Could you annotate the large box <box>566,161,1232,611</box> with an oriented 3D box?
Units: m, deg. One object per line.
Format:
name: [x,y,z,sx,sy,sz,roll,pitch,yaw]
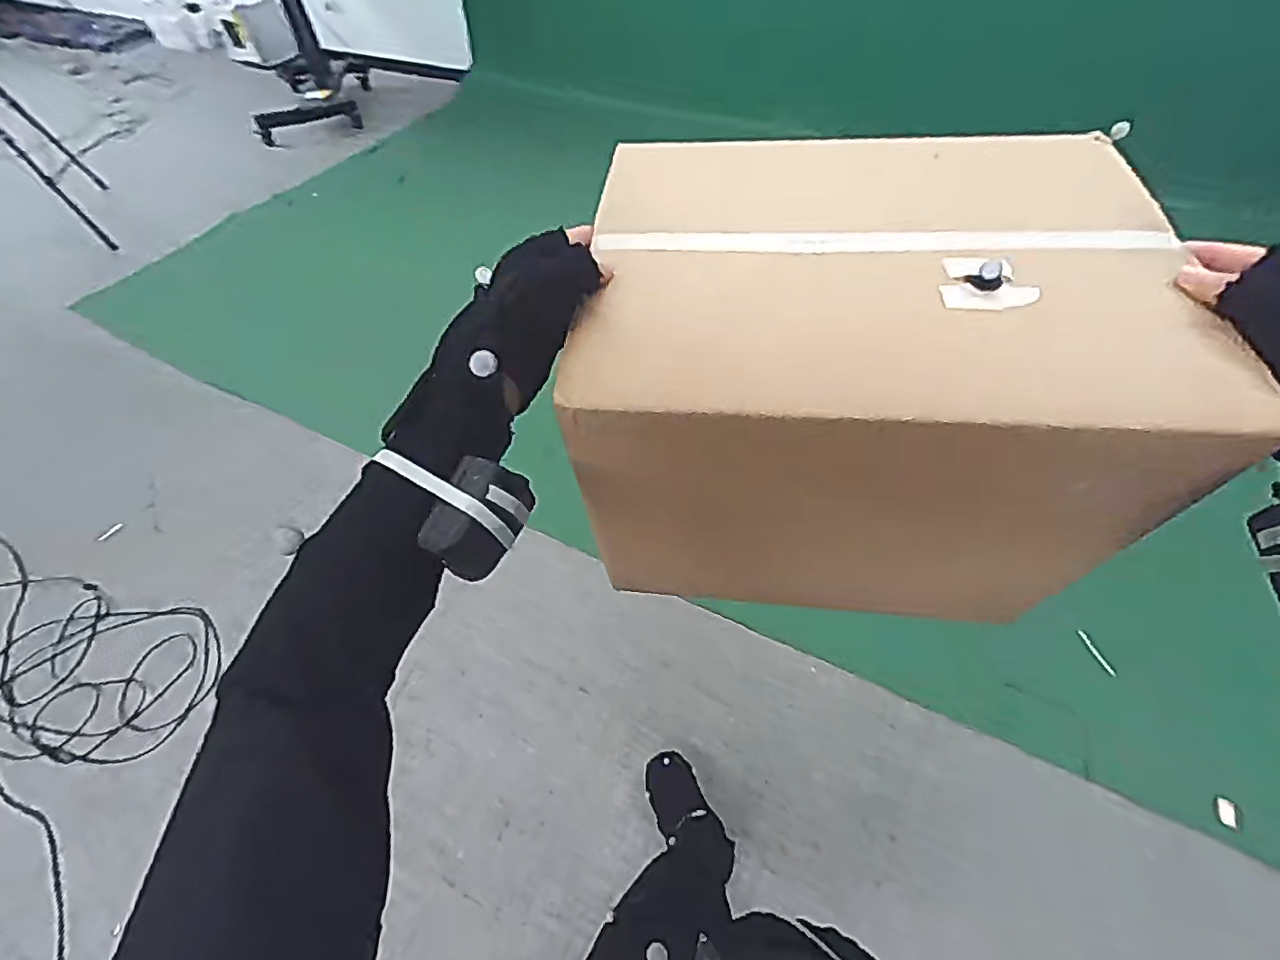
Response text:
large box: [0.168,-0.079,0.535,0.408,0.320,0.320,3,57,7]
